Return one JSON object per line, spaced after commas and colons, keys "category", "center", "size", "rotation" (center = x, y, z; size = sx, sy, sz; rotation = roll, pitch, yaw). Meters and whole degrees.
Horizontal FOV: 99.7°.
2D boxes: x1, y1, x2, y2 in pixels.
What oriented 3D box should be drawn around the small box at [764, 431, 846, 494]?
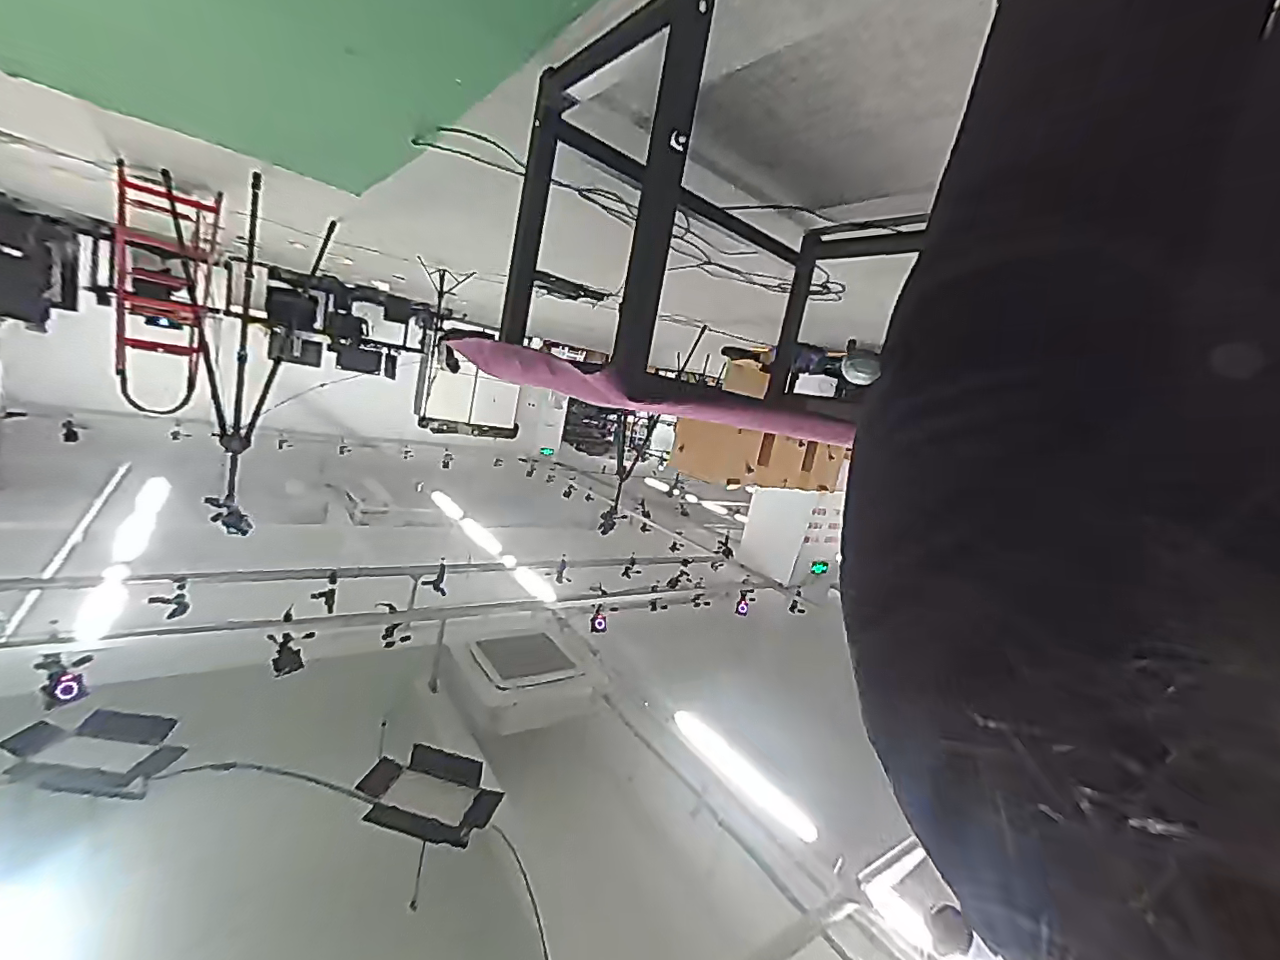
{"category": "small box", "center": [0.538, -0.061, 1.760], "size": [0.168, 0.176, 0.179], "rotation": [5, -169, -40]}
